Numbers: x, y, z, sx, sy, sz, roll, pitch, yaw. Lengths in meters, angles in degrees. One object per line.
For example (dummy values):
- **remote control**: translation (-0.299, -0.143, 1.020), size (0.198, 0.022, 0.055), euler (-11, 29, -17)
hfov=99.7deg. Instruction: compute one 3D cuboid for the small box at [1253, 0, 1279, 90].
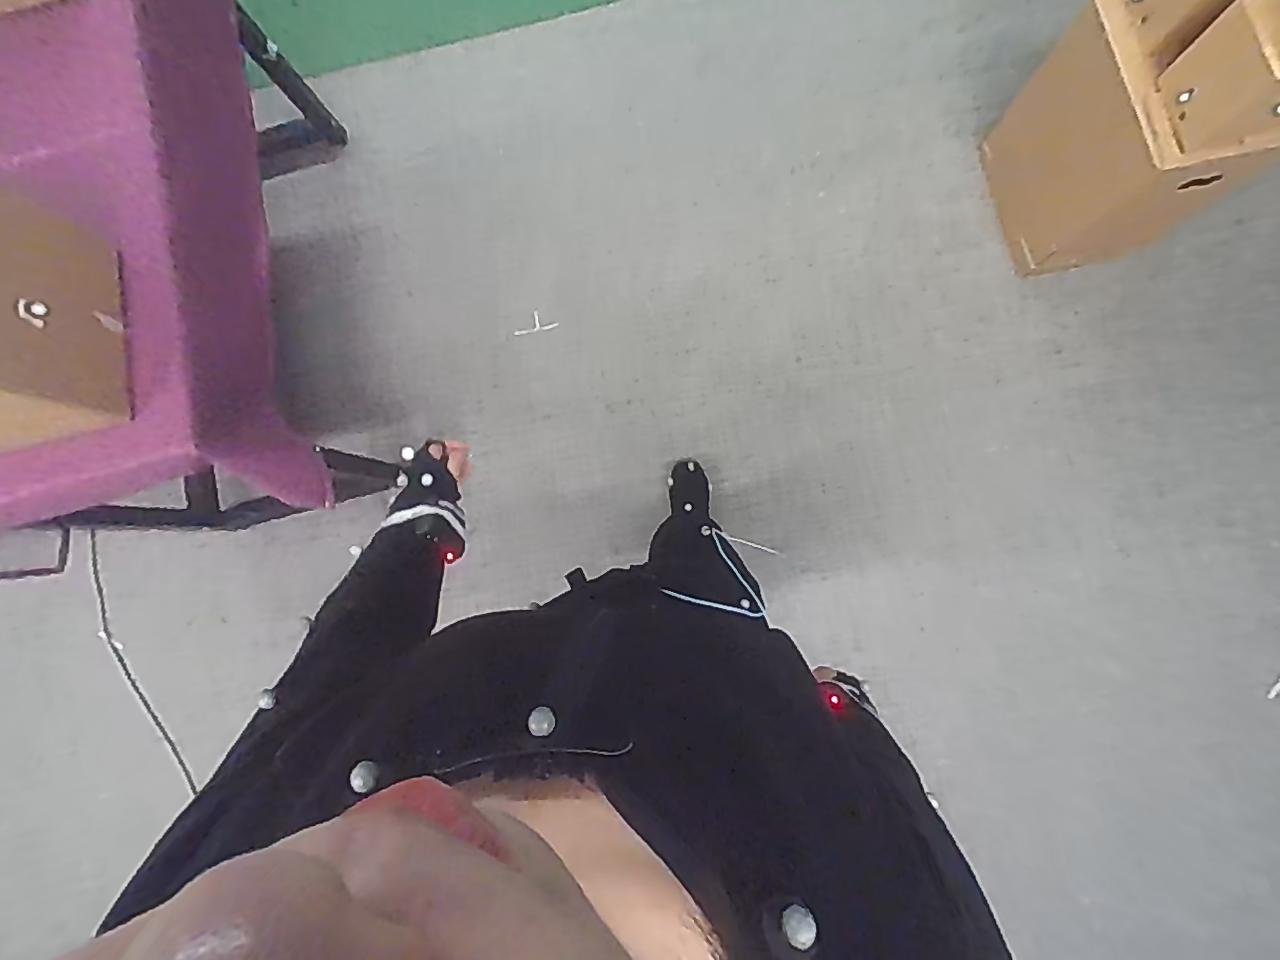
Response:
- **small box**: translation (1.126, -0.739, 0.822), size (0.179, 0.176, 0.168), euler (-8, 81, 3)
